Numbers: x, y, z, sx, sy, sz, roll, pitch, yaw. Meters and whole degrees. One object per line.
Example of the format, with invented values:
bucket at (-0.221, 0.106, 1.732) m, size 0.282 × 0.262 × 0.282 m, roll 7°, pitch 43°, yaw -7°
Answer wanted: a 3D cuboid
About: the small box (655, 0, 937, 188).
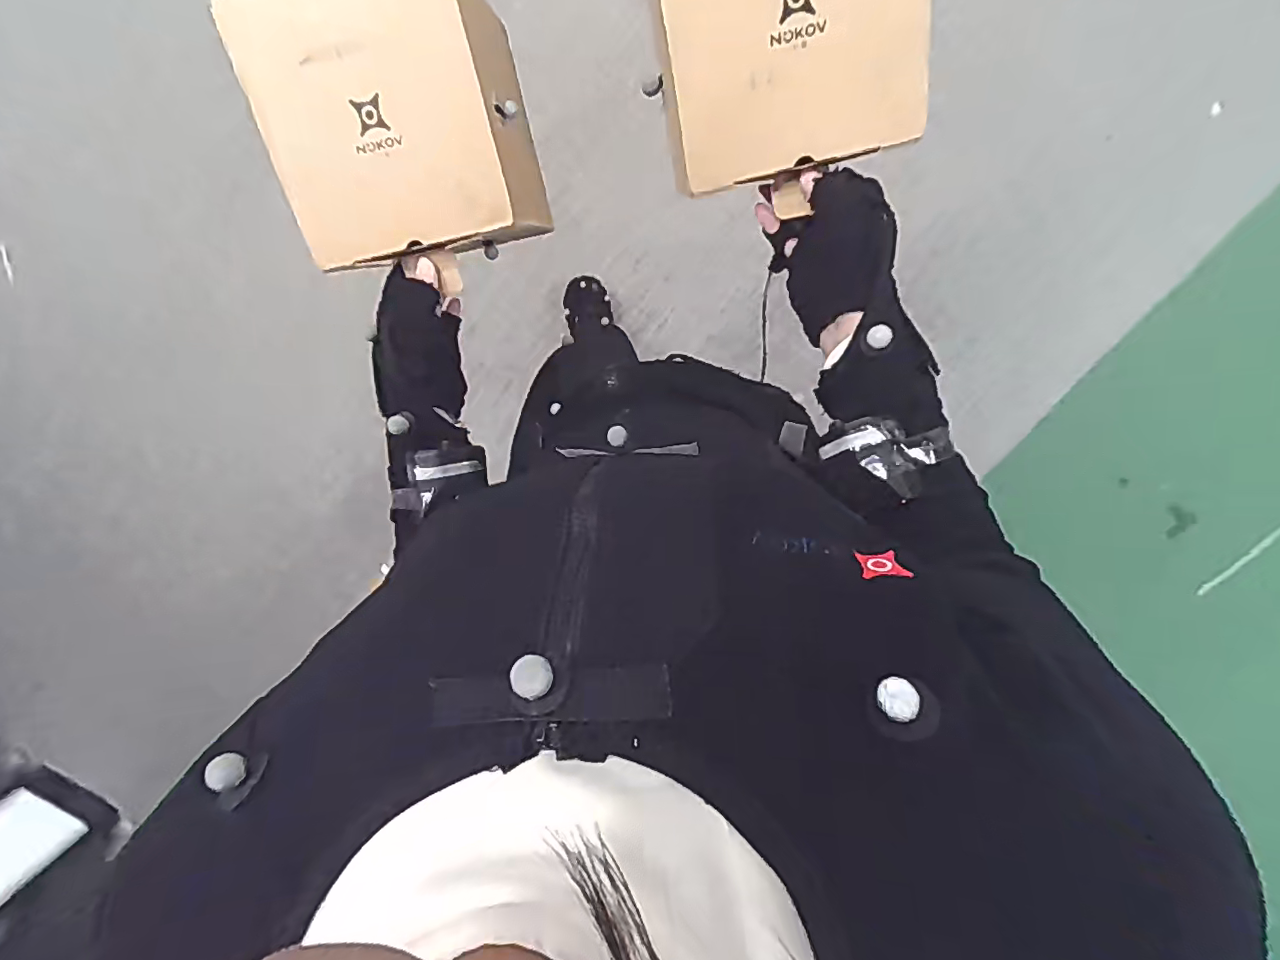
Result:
small box at (0.105, -0.339, 0.413) m, size 0.168 × 0.176 × 0.179 m, roll -11°, pitch 119°, yaw 4°
